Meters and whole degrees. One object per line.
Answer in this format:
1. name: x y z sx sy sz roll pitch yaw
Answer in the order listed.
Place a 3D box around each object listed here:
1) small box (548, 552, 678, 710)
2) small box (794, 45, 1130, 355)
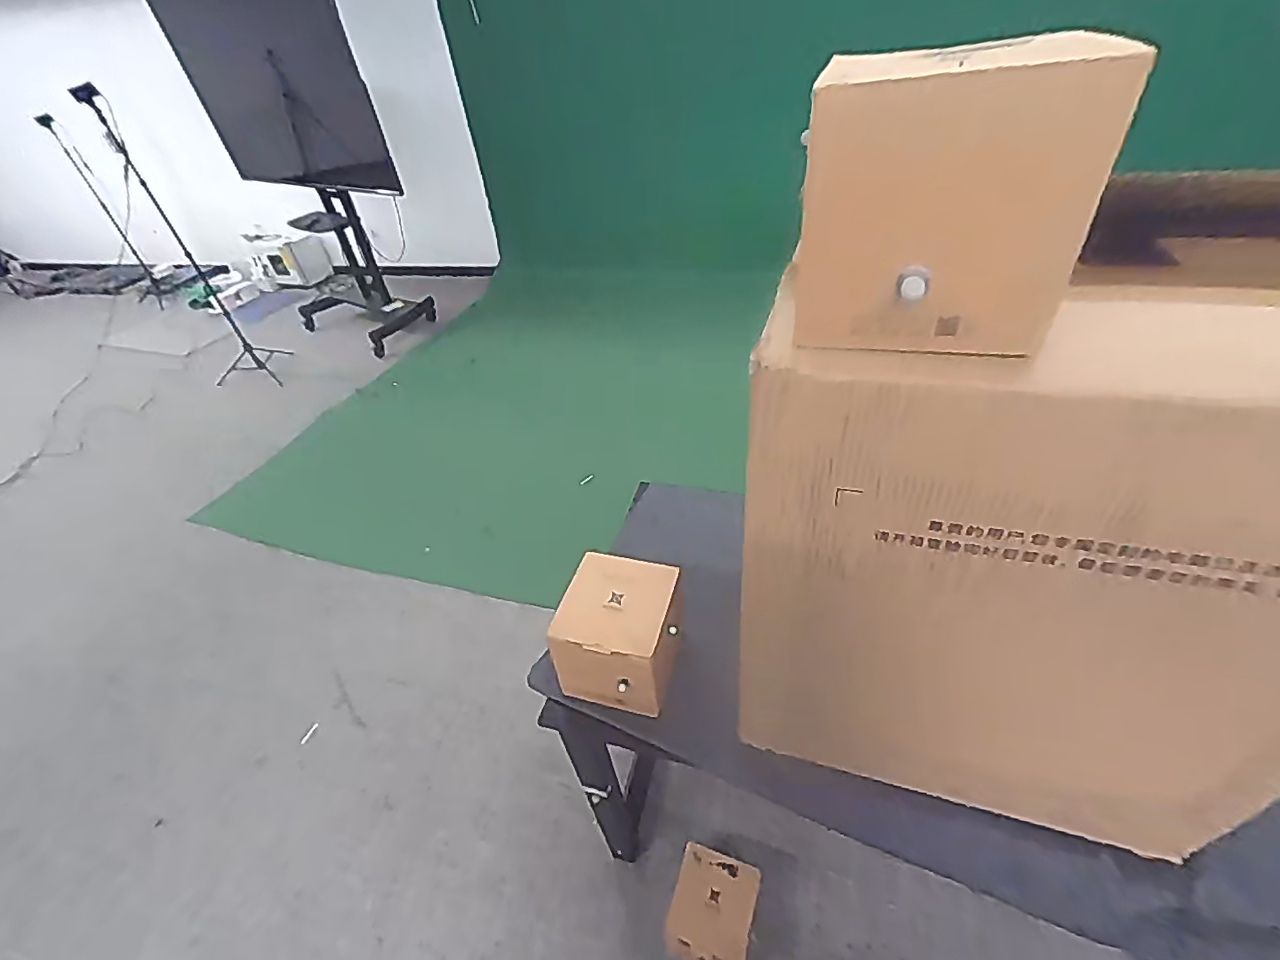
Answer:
1. small box: -0.032 0.249 0.894 0.168 0.176 0.179 8 39 14
2. small box: 0.215 -0.214 0.415 0.168 0.176 0.179 7 42 19
